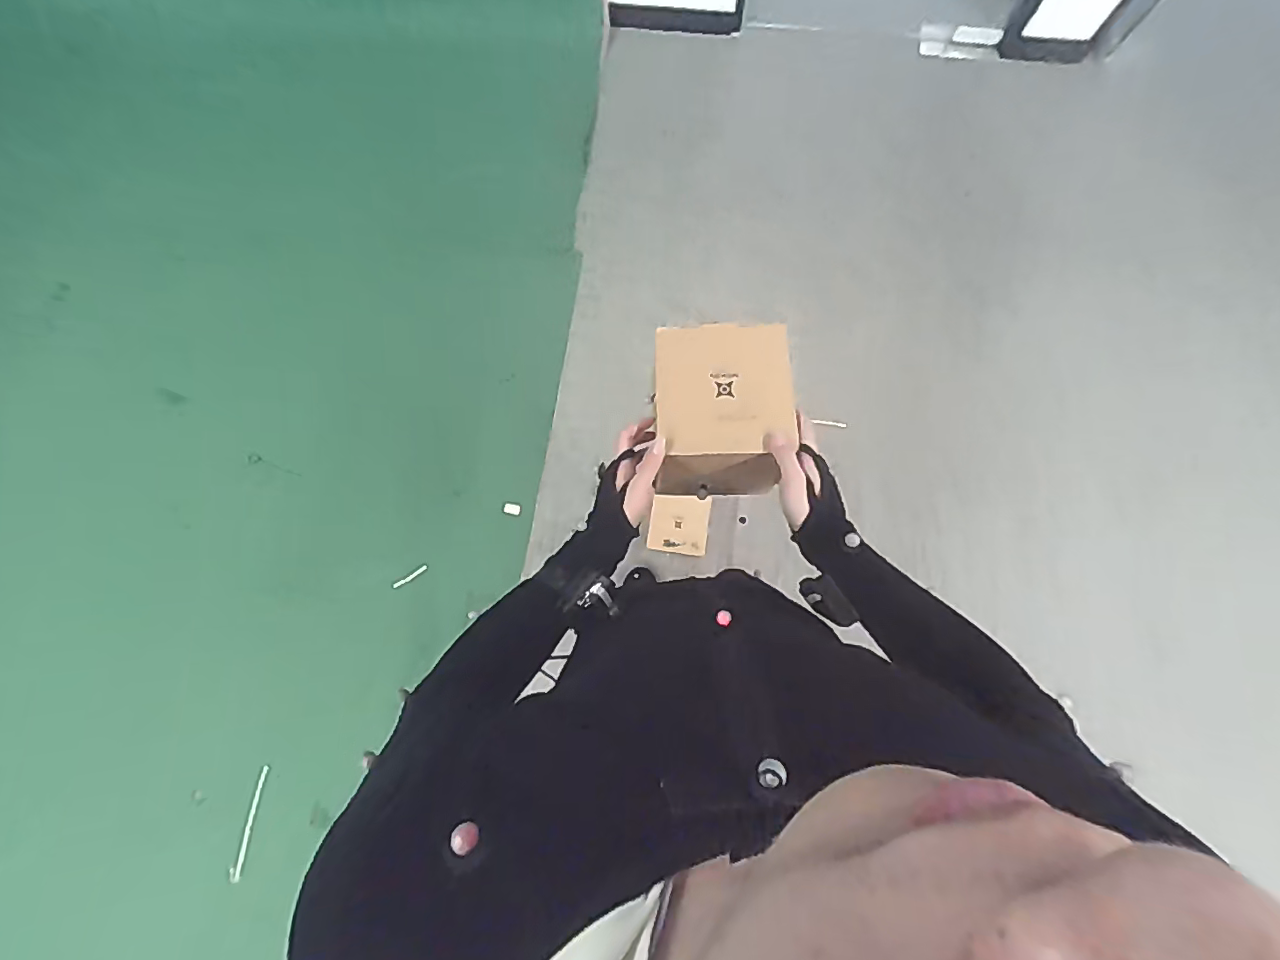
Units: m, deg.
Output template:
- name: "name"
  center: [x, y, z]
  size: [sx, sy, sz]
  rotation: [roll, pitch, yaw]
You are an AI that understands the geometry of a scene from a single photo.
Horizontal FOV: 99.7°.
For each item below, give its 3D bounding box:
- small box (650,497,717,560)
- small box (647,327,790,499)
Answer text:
- name: "small box"
  center: [0.125, 0.134, 1.590]
  size: [0.168, 0.176, 0.179]
  rotation: [9, 79, 5]
- name: "small box"
  center: [0.093, -0.084, 0.726]
  size: [0.168, 0.176, 0.179]
  rotation: [0, 71, 1]
